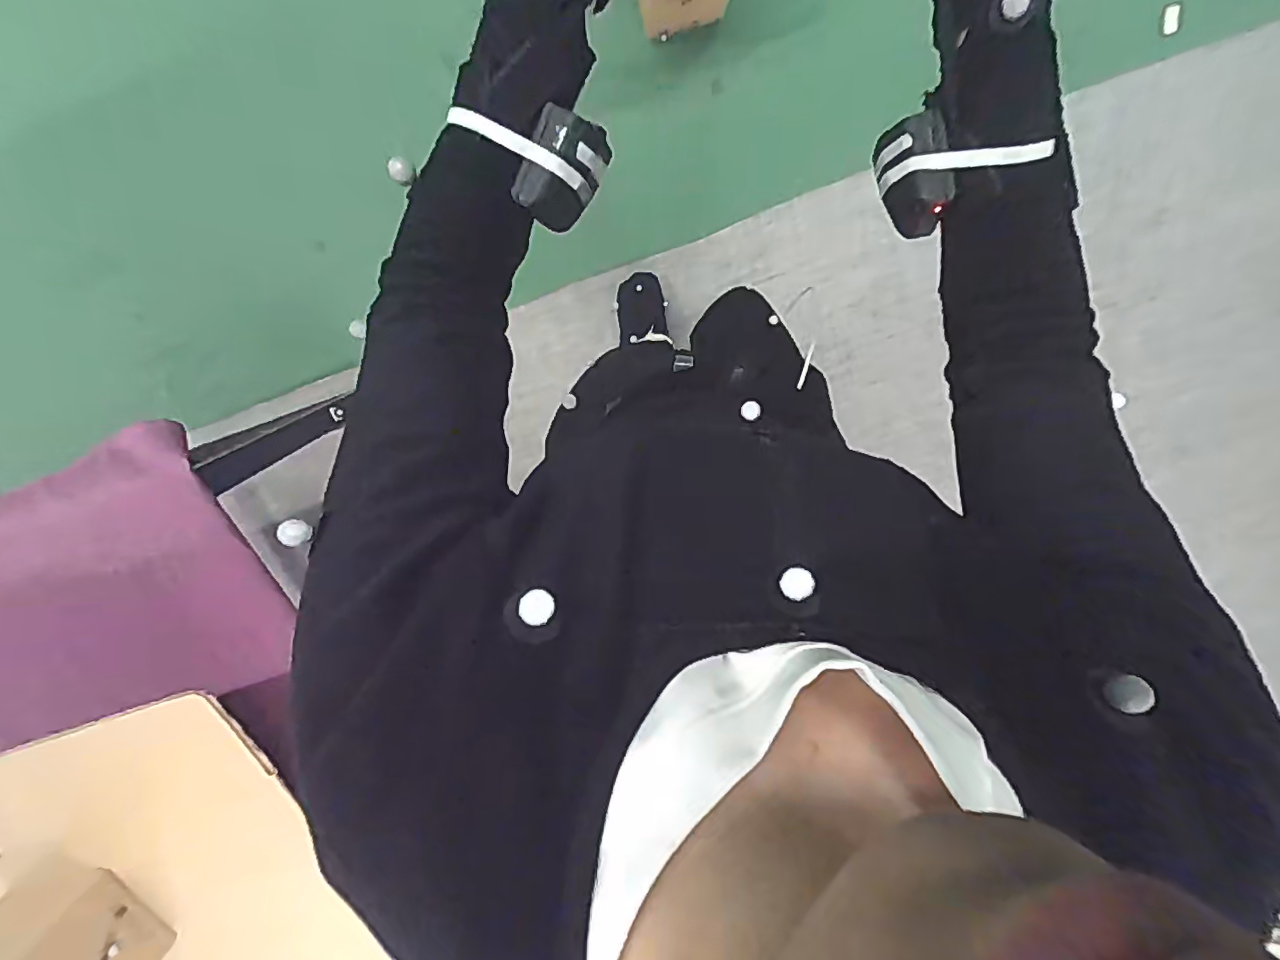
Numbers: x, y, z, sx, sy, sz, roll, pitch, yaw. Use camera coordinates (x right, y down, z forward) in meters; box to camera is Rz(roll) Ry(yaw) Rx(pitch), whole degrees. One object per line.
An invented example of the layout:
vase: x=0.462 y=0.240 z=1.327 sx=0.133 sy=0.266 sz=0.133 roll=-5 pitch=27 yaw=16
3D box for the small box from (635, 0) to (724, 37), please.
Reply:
small box: x=0.069 y=-0.990 z=1.034 sx=0.168 sy=0.176 sz=0.179 roll=-17 pitch=113 yaw=5

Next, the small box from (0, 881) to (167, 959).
small box: x=-0.787 y=0.663 z=0.697 sx=0.179 sy=0.176 sz=0.168 roll=-15 pitch=112 yaw=6
